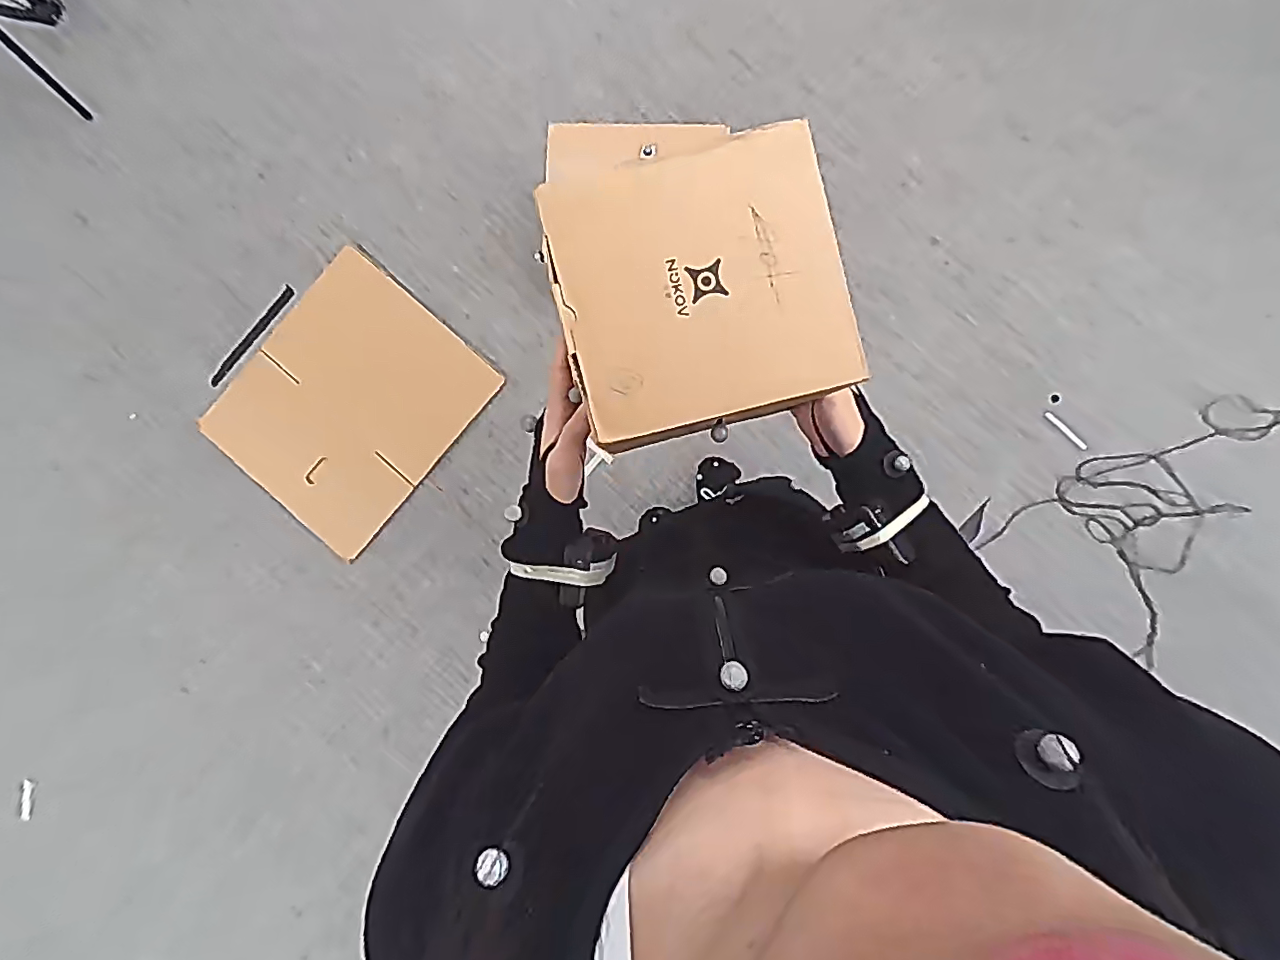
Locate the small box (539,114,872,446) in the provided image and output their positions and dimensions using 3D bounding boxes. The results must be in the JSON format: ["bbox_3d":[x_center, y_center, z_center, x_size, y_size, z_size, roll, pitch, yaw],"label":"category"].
[{"bbox_3d":[0.041,-0.125,0.411,0.179,0.176,0.168,-15,92,0],"label":"small box"}]
